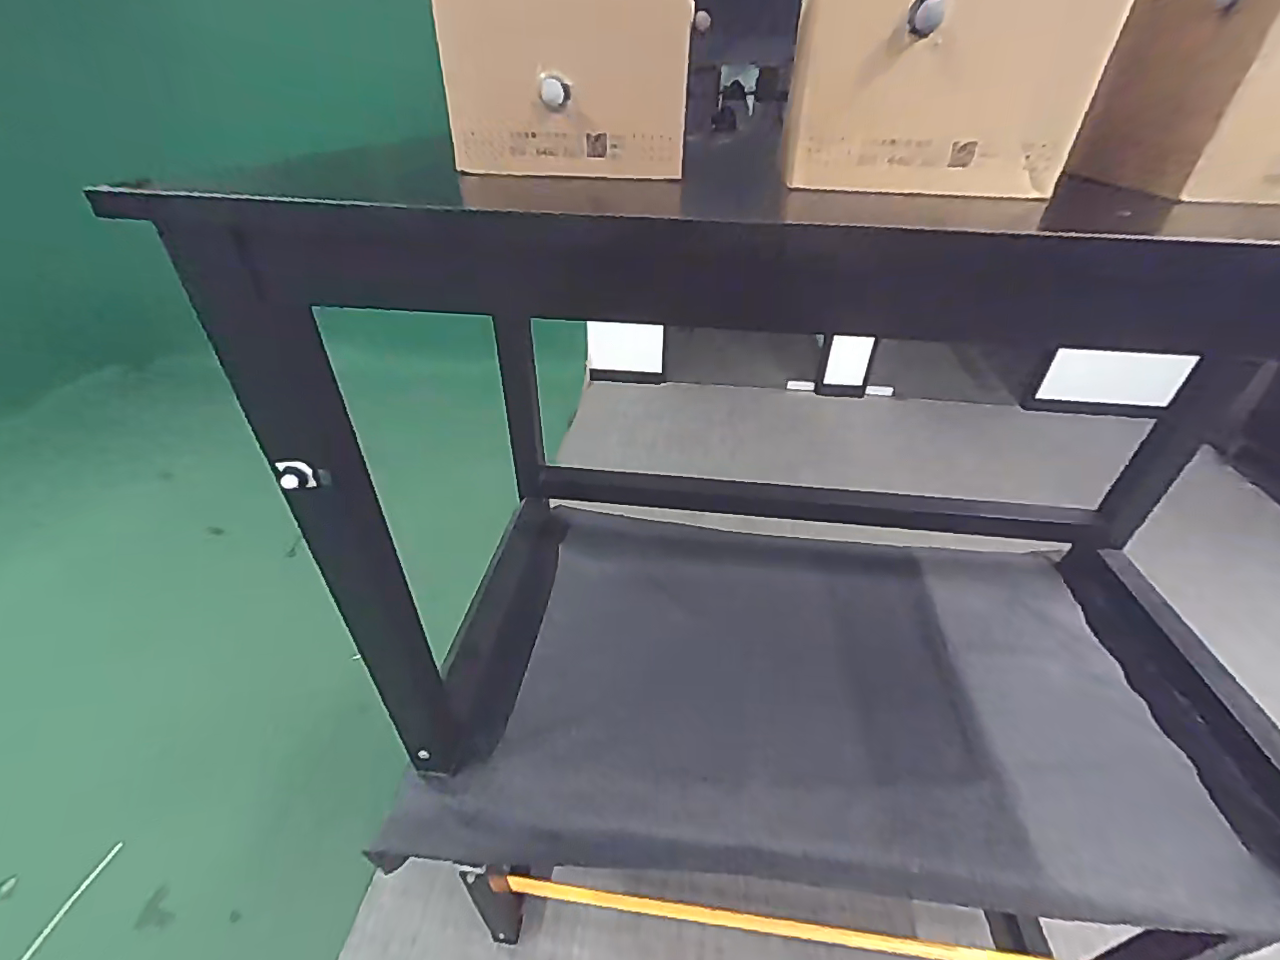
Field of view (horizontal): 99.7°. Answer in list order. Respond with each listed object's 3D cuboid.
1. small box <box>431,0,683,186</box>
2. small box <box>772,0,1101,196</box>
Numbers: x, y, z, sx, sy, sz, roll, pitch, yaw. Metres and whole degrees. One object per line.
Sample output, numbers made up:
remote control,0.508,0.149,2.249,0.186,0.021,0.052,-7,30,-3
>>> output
small box,-0.052,-0.336,0.415,0.168,0.176,0.179,3,37,3
small box,0.187,-0.302,0.374,0.168,0.176,0.179,6,36,7
